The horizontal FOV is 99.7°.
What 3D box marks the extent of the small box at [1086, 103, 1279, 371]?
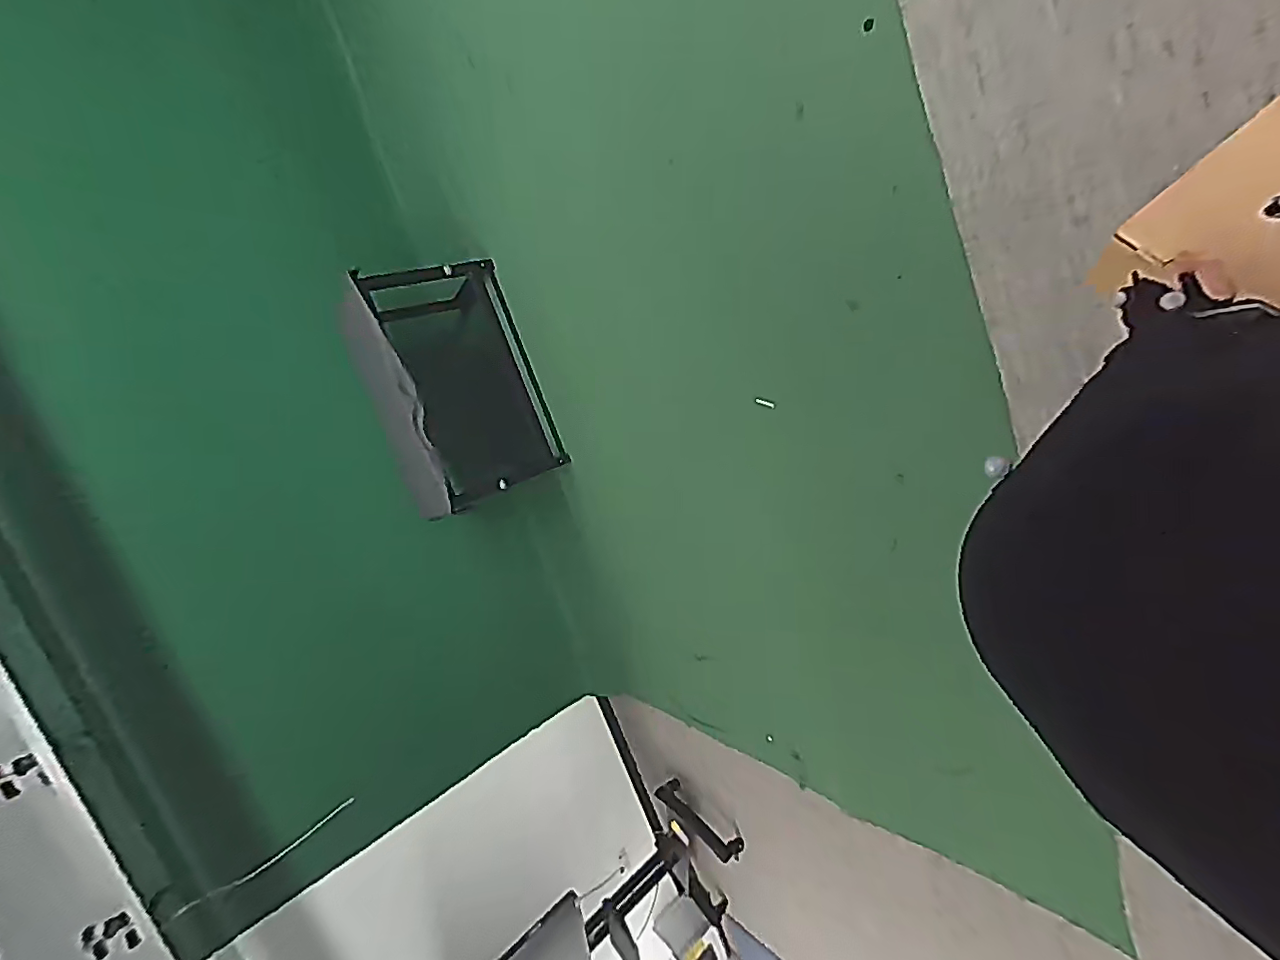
[{"bbox_3d":[0.644,-0.250,0.582,0.176,0.179,0.168,-45,66,21],"label":"small box"}]
